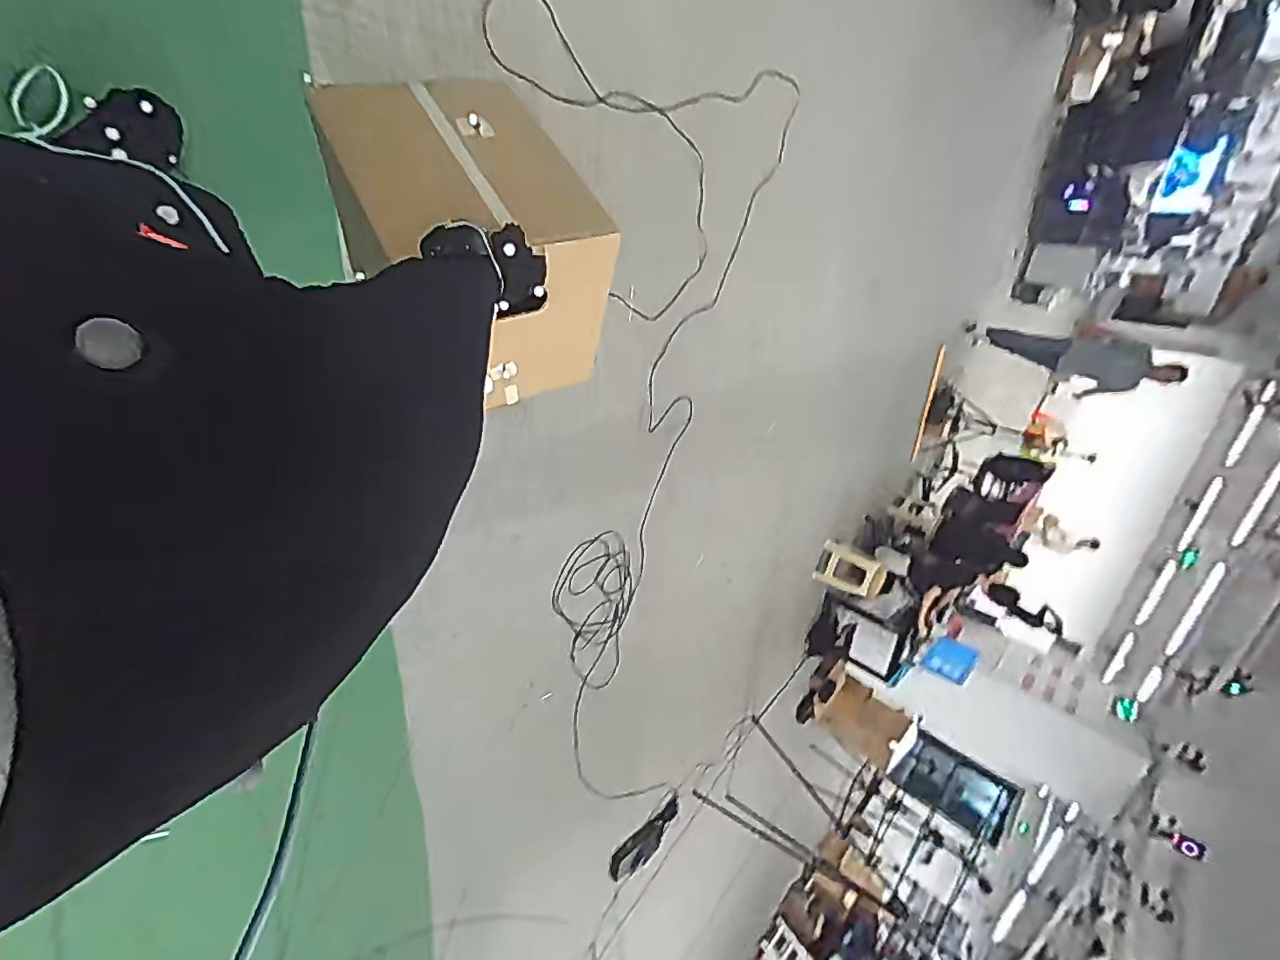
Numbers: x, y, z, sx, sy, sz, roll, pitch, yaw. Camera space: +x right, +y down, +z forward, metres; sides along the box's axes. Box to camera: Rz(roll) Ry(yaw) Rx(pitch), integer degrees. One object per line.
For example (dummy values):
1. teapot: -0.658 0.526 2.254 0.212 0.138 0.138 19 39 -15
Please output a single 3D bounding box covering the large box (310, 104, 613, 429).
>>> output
1. large box: -0.292 -0.359 0.911 0.320 0.408 0.320 -20 155 -26
